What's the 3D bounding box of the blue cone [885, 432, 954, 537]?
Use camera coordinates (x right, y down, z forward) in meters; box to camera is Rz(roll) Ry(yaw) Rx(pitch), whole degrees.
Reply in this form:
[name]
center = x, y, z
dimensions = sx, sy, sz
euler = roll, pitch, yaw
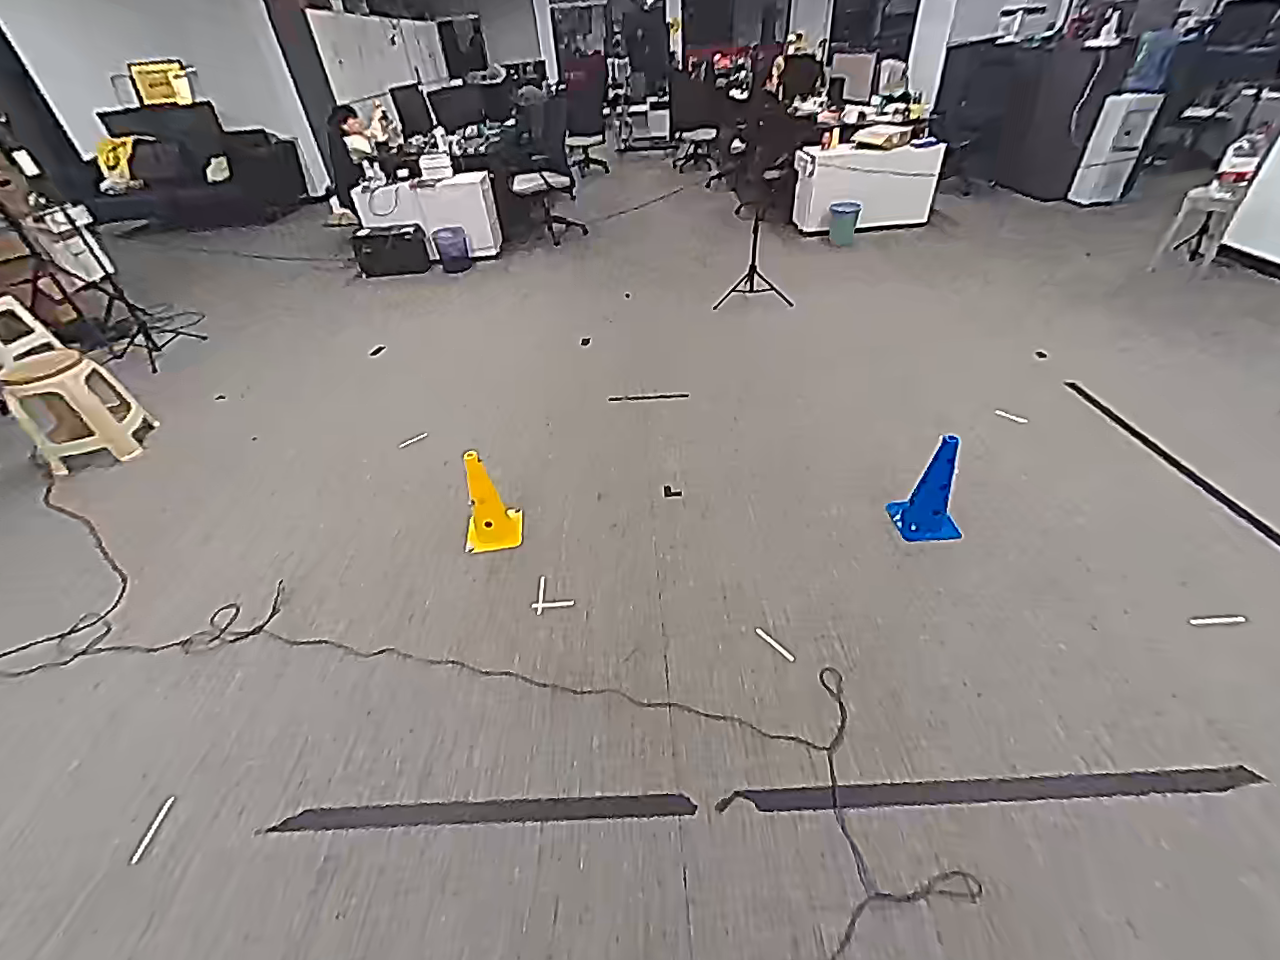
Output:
[blue cone]
center = 0.985, 0.009, 1.826
dimensions = 0.193, 0.380, 0.192
euler = -3, 38, 2
